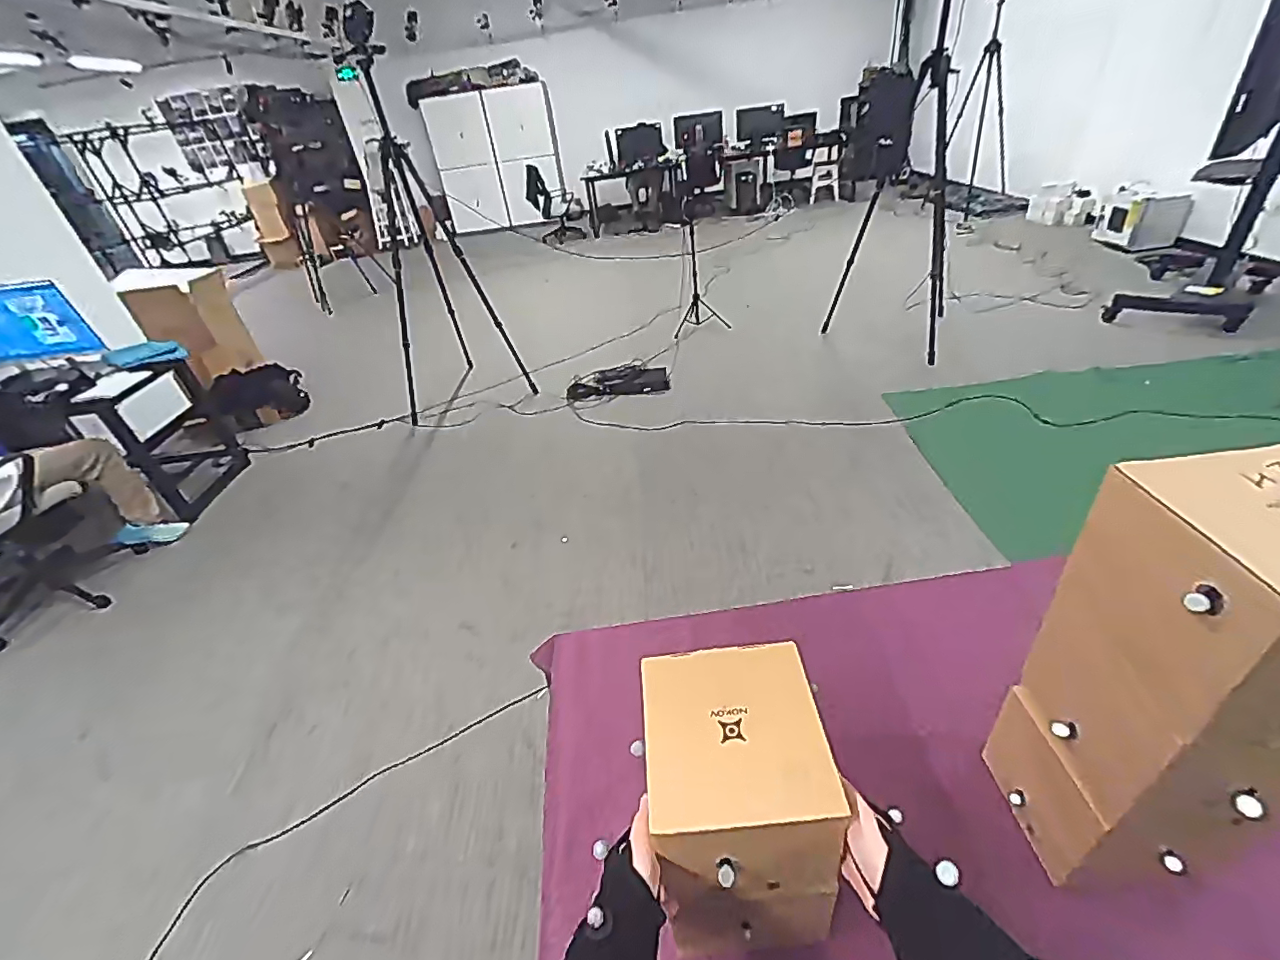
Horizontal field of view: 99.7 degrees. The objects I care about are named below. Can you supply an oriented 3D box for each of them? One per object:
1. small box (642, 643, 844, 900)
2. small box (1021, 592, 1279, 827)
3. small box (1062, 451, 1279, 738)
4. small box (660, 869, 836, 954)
[{"bbox_3d":[0.096,0.298,0.552,0.168,0.176,0.179,-8,34,3],"label":"small box"},{"bbox_3d":[0.535,0.230,0.550,0.168,0.176,0.179,-5,36,6],"label":"small box"},{"bbox_3d":[0.512,0.097,0.454,0.168,0.176,0.179,-6,35,5],"label":"small box"},{"bbox_3d":[0.114,0.431,0.644,0.179,0.176,0.168,-9,35,2],"label":"small box"}]
